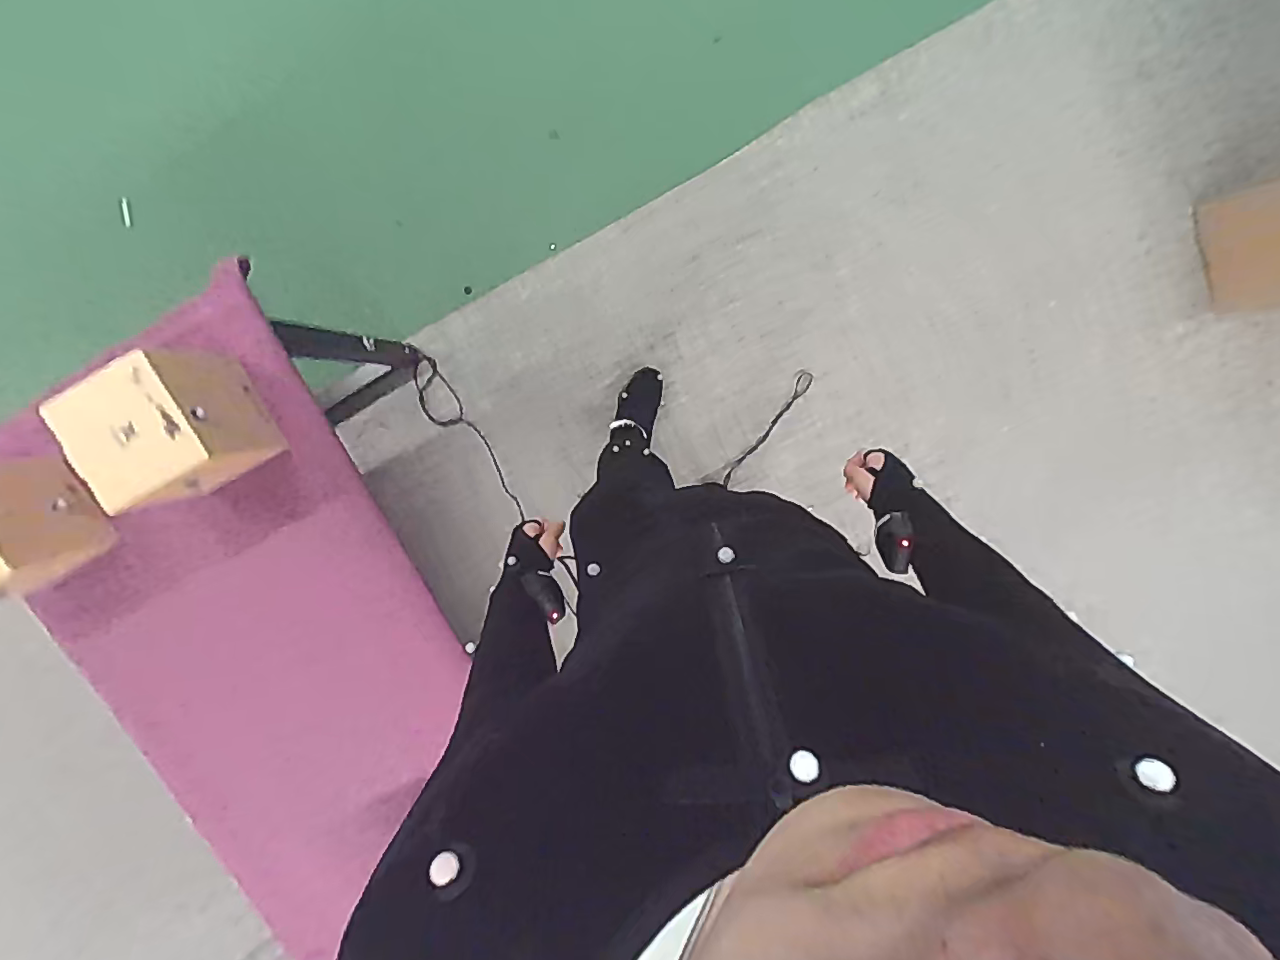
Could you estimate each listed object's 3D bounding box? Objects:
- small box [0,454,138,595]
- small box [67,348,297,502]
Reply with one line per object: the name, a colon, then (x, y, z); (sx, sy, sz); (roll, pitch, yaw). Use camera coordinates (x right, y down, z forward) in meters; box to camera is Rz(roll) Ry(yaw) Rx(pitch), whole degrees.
small box: (-1.002, 0.075, 0.884); (0.179, 0.176, 0.168); (-29, 100, 7)
small box: (-0.689, -0.088, 0.837); (0.179, 0.176, 0.168); (-27, 99, 7)
